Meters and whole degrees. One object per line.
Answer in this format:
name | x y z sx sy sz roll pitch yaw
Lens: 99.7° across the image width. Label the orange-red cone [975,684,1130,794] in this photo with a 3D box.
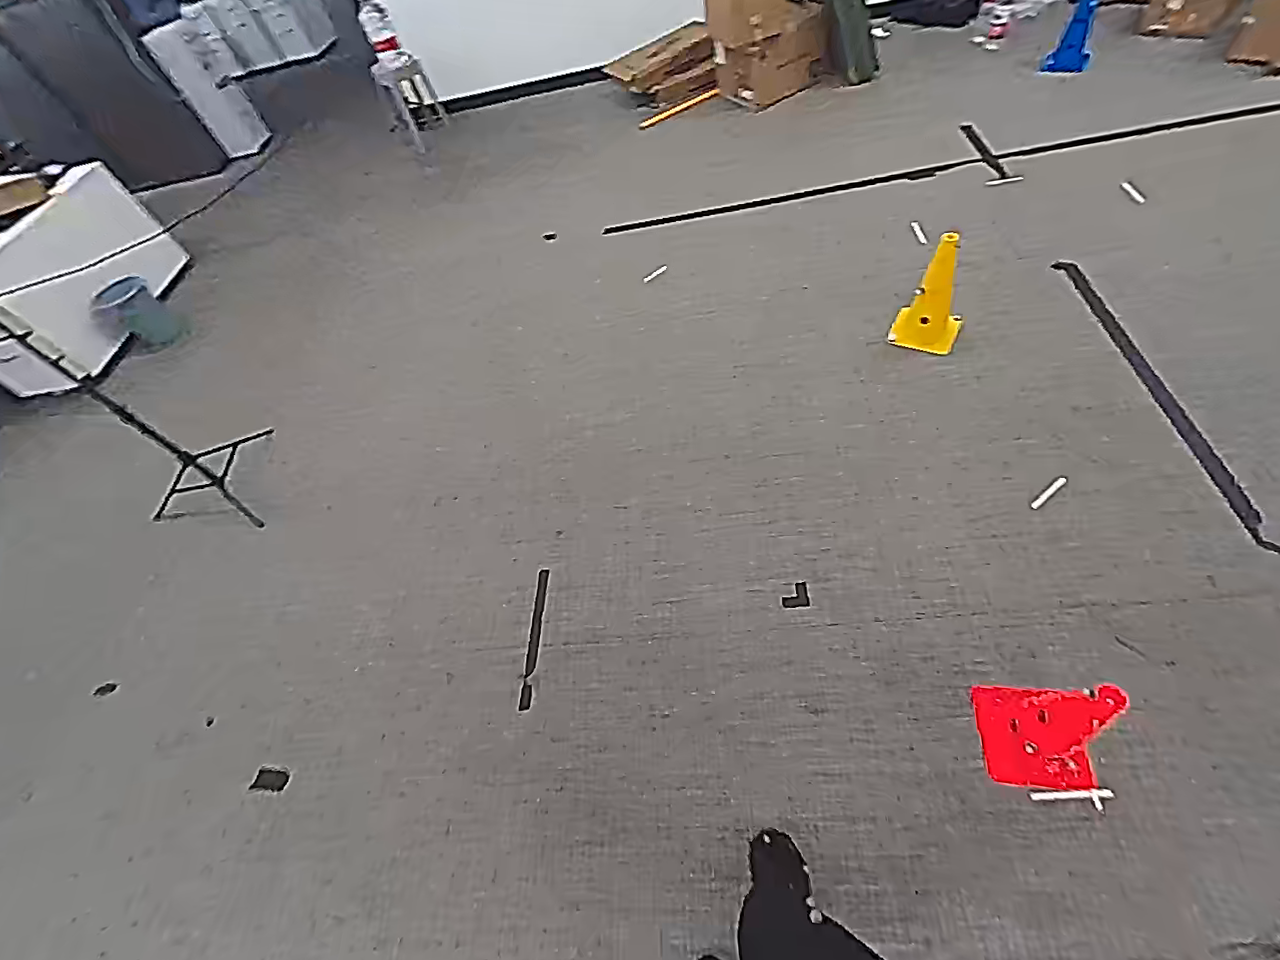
orange-red cone | 0.810 0.452 1.024 0.198 0.360 0.199 0 54 13
